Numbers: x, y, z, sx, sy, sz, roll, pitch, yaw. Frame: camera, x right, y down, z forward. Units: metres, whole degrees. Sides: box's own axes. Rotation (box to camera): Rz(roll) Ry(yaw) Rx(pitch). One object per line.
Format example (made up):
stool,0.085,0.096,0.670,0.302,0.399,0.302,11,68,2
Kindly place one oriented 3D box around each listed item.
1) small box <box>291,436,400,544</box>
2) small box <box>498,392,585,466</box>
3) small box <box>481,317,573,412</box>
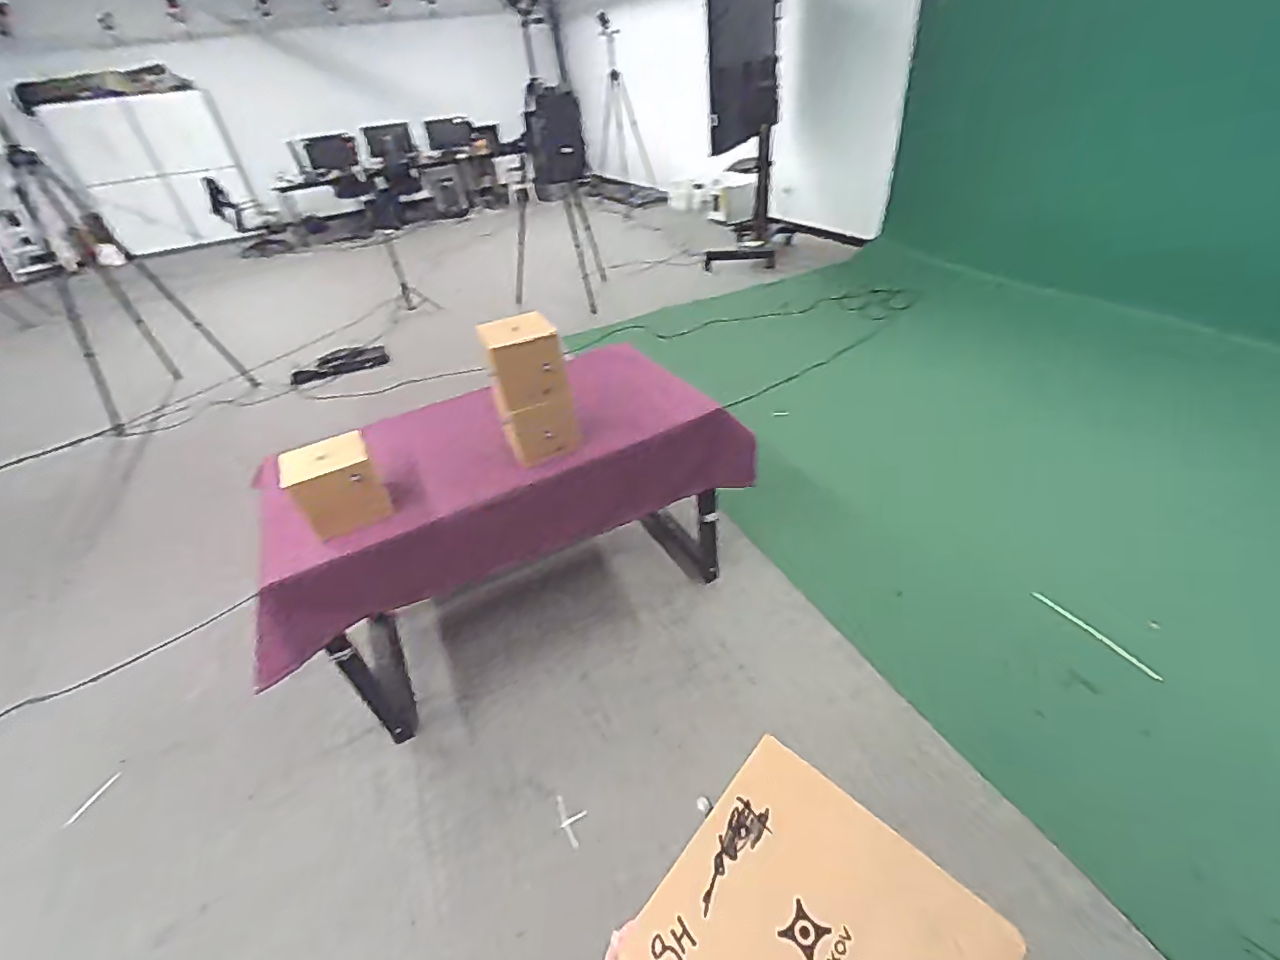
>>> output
small box,-0.705,0.025,1.299,0.179,0.176,0.168,-23,39,-21
small box,-0.261,-0.156,1.454,0.168,0.176,0.179,-22,39,-18
small box,-0.281,-0.288,1.359,0.168,0.176,0.179,-20,38,-16
